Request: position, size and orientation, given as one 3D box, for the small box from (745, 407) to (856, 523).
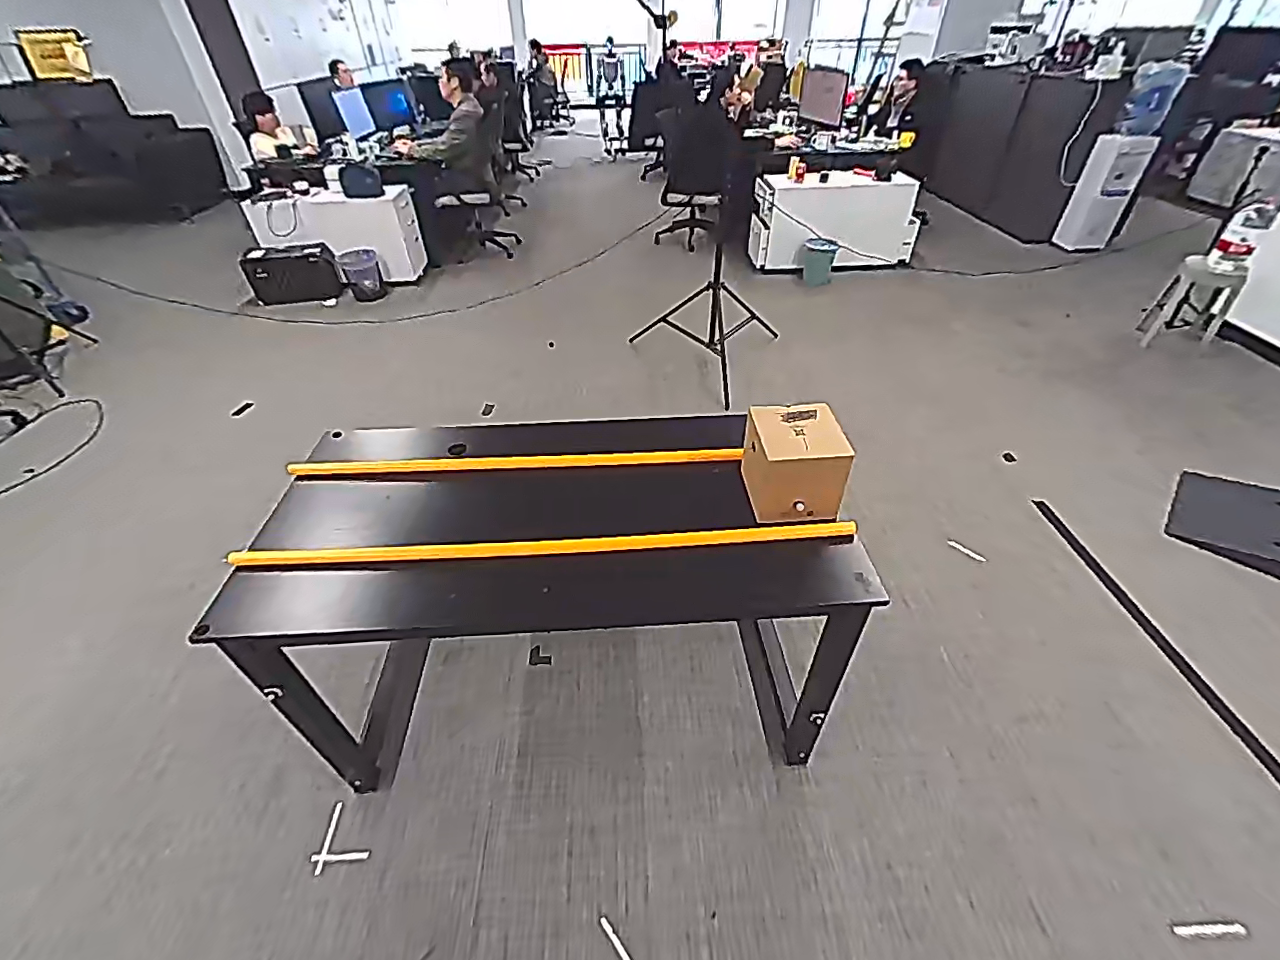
[{"bbox_3d":[0.318,-0.031,1.115,0.168,0.176,0.179,-3,41,-1],"label":"small box"}]
